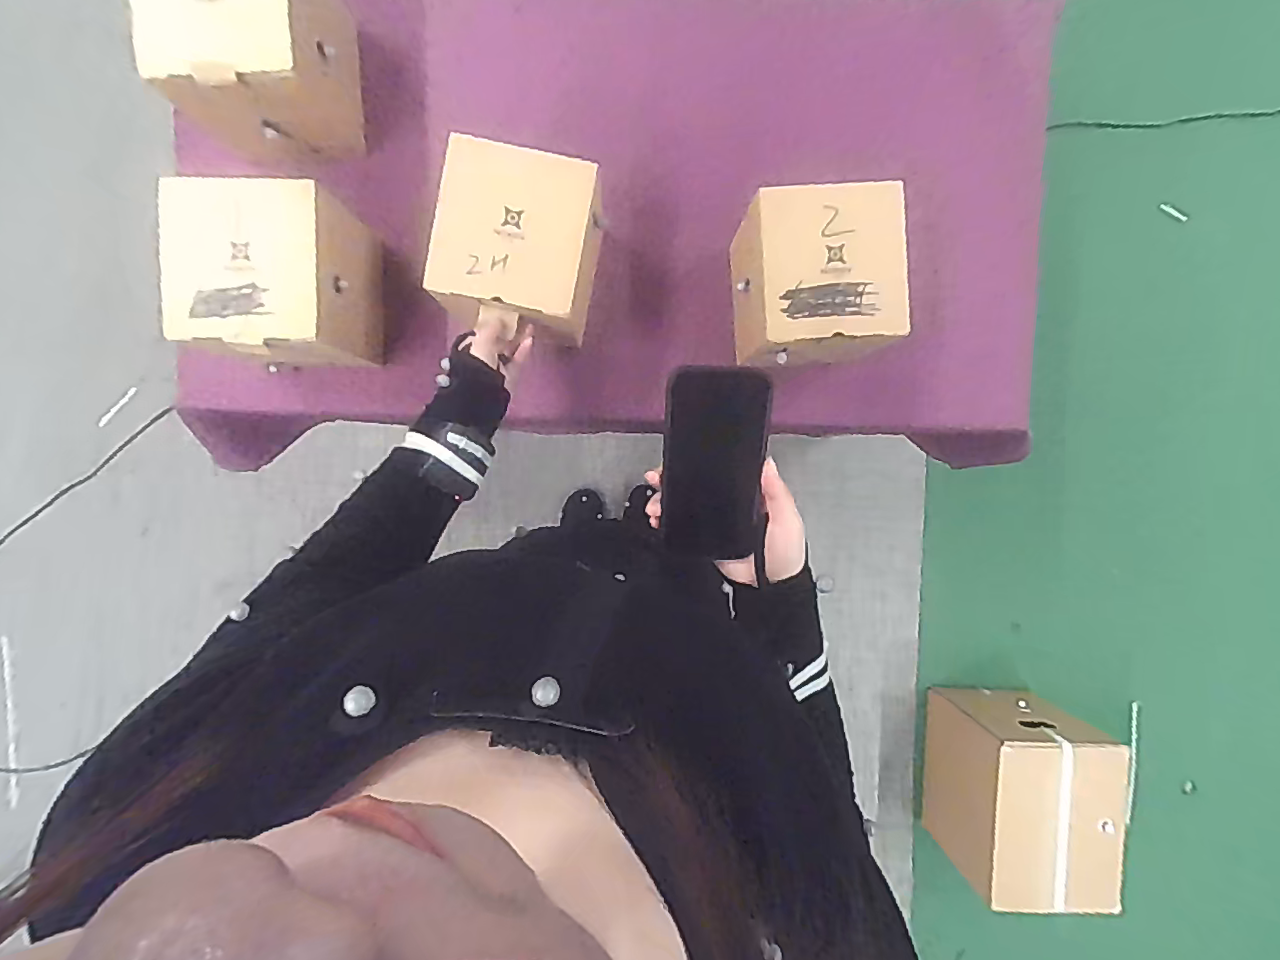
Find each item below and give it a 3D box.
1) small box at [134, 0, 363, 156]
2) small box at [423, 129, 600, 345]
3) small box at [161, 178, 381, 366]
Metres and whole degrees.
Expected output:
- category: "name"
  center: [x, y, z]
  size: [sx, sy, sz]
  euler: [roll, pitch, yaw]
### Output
- category: "small box"
  center: [-0.457, -0.519, 0.655]
  size: [0.168, 0.176, 0.179]
  euler: [-3, 94, -2]
- category: "small box"
  center: [-0.146, -0.286, 0.675]
  size: [0.168, 0.176, 0.179]
  euler: [11, 92, -2]
- category: "small box"
  center: [-0.437, -0.240, 0.667]
  size: [0.168, 0.176, 0.179]
  euler: [0, 91, -3]
